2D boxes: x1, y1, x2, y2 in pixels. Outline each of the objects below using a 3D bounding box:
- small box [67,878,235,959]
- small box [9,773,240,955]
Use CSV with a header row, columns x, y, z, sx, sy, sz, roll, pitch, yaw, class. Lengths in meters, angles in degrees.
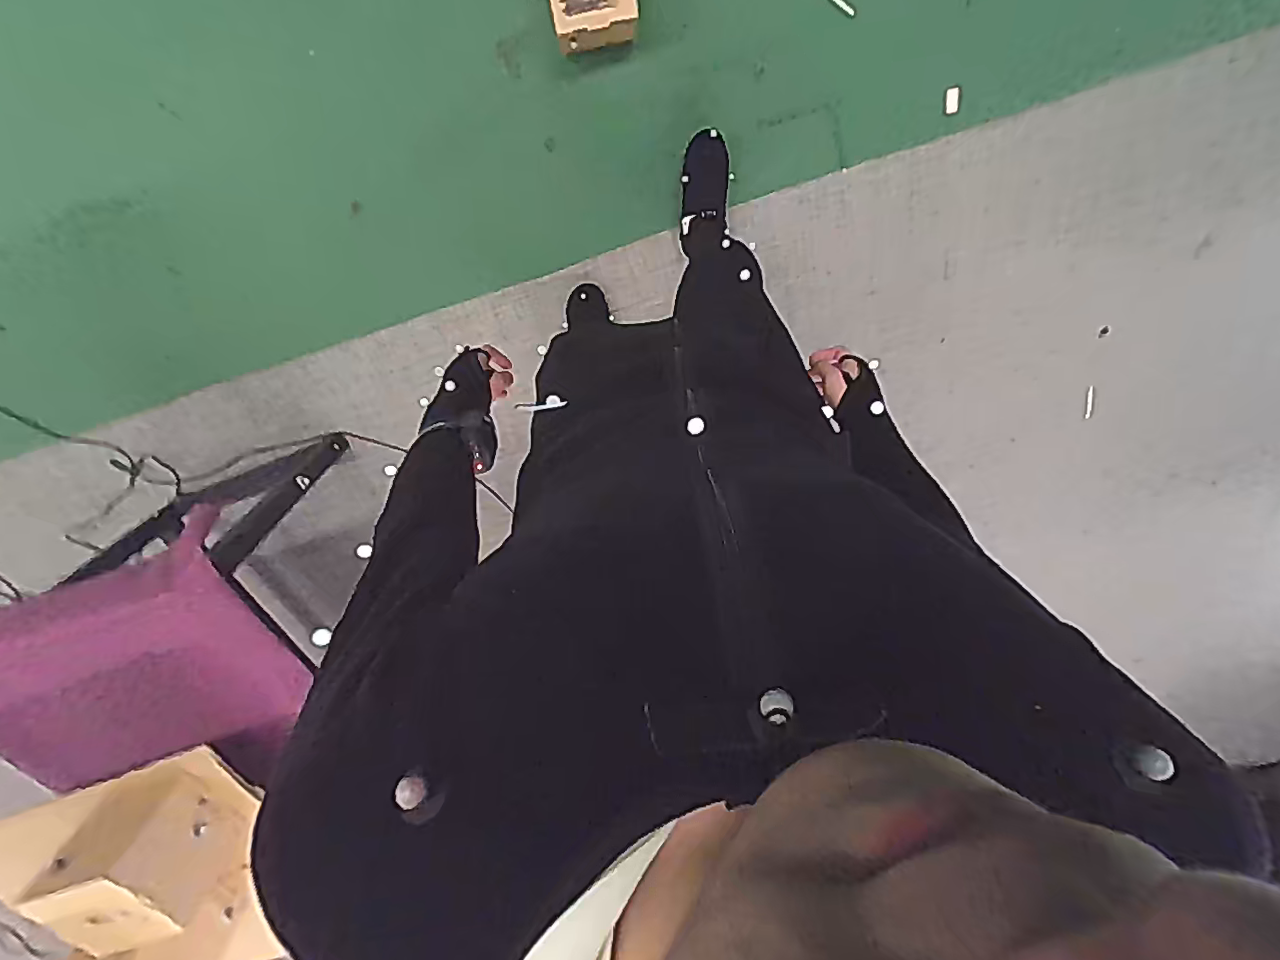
x,y,z,sx,sy,sz,roll,pitch,yaw,class
-0.896,0.852,0.991,0.179,0.176,0.168,-20,114,7,small box
-0.821,0.621,0.885,0.179,0.176,0.168,-20,116,5,small box
